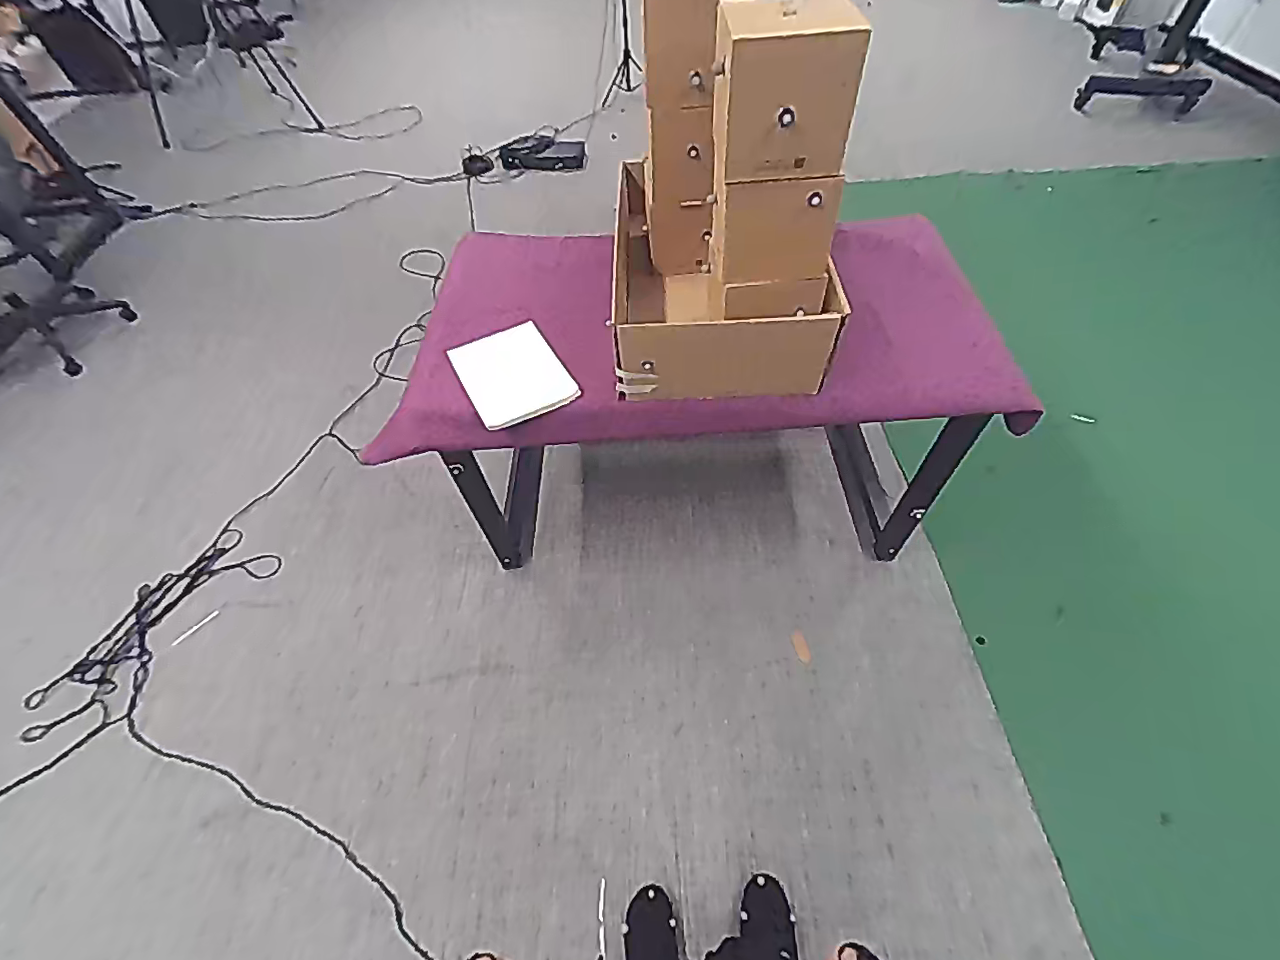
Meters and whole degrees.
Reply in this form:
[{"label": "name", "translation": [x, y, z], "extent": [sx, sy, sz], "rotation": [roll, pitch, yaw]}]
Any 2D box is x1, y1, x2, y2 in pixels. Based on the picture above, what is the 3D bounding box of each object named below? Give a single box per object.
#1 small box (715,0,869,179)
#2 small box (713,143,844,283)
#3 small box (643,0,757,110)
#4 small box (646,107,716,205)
[{"label": "small box", "translation": [0.196, -0.539, 0.754], "extent": [0.168, 0.176, 0.179], "rotation": [-2, 52, 2]}, {"label": "small box", "translation": [0.212, -0.440, 0.885], "extent": [0.179, 0.176, 0.168], "rotation": [-2, 52, 2]}, {"label": "small box", "translation": [0.093, -0.762, 0.928], "extent": [0.179, 0.176, 0.168], "rotation": [-2, 54, 1]}, {"label": "small box", "translation": [0.103, -0.665, 1.060], "extent": [0.179, 0.176, 0.168], "rotation": [-4, 55, 0]}]
